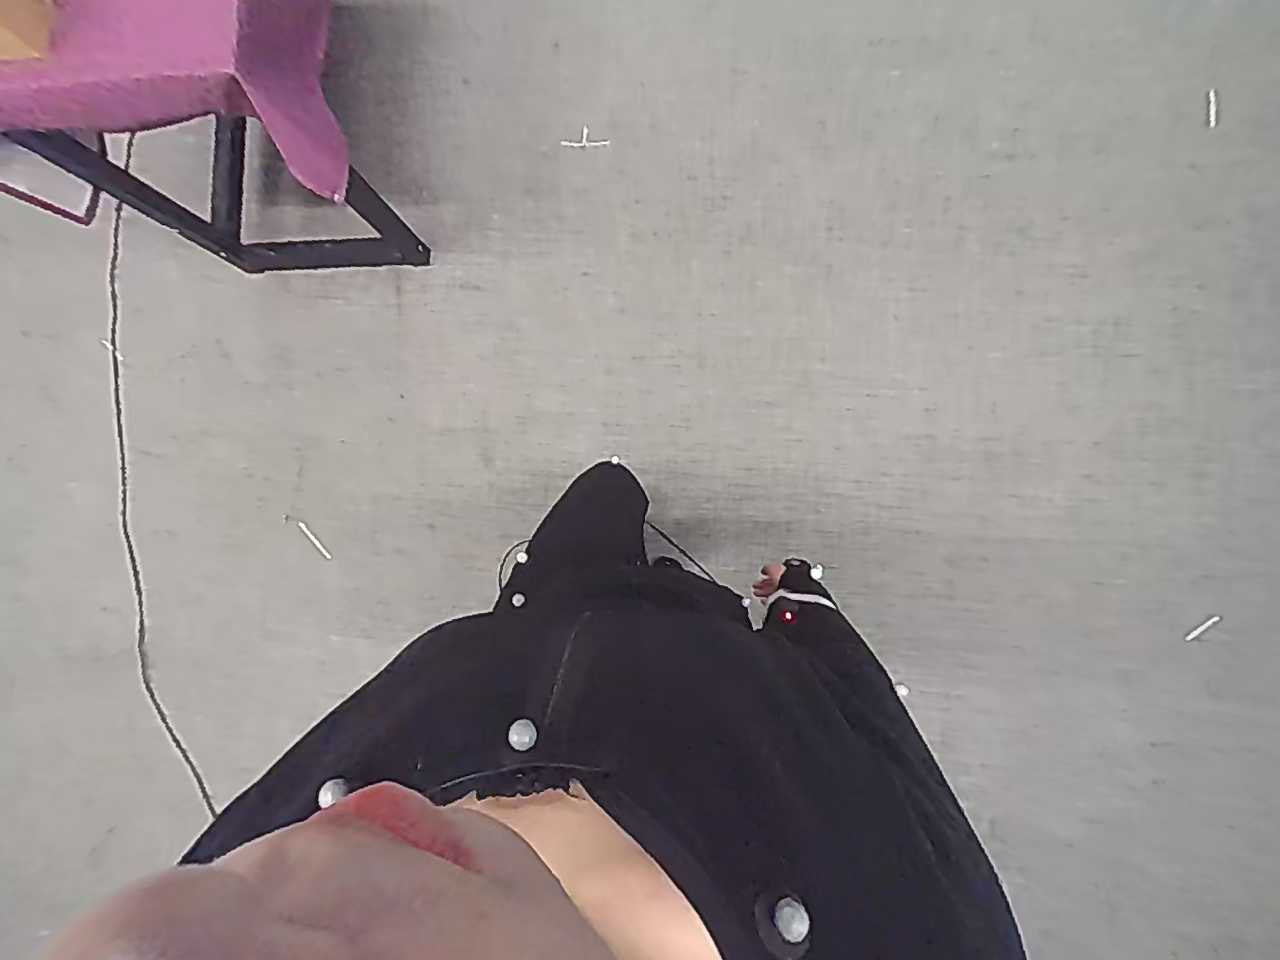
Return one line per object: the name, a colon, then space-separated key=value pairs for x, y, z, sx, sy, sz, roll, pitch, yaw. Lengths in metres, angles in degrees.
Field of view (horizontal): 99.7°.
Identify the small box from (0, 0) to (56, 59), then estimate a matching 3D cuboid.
small box: x=-1.075 y=-0.790 z=0.833 sx=0.179 sy=0.176 sz=0.168 roll=0 pitch=86 yaw=3
